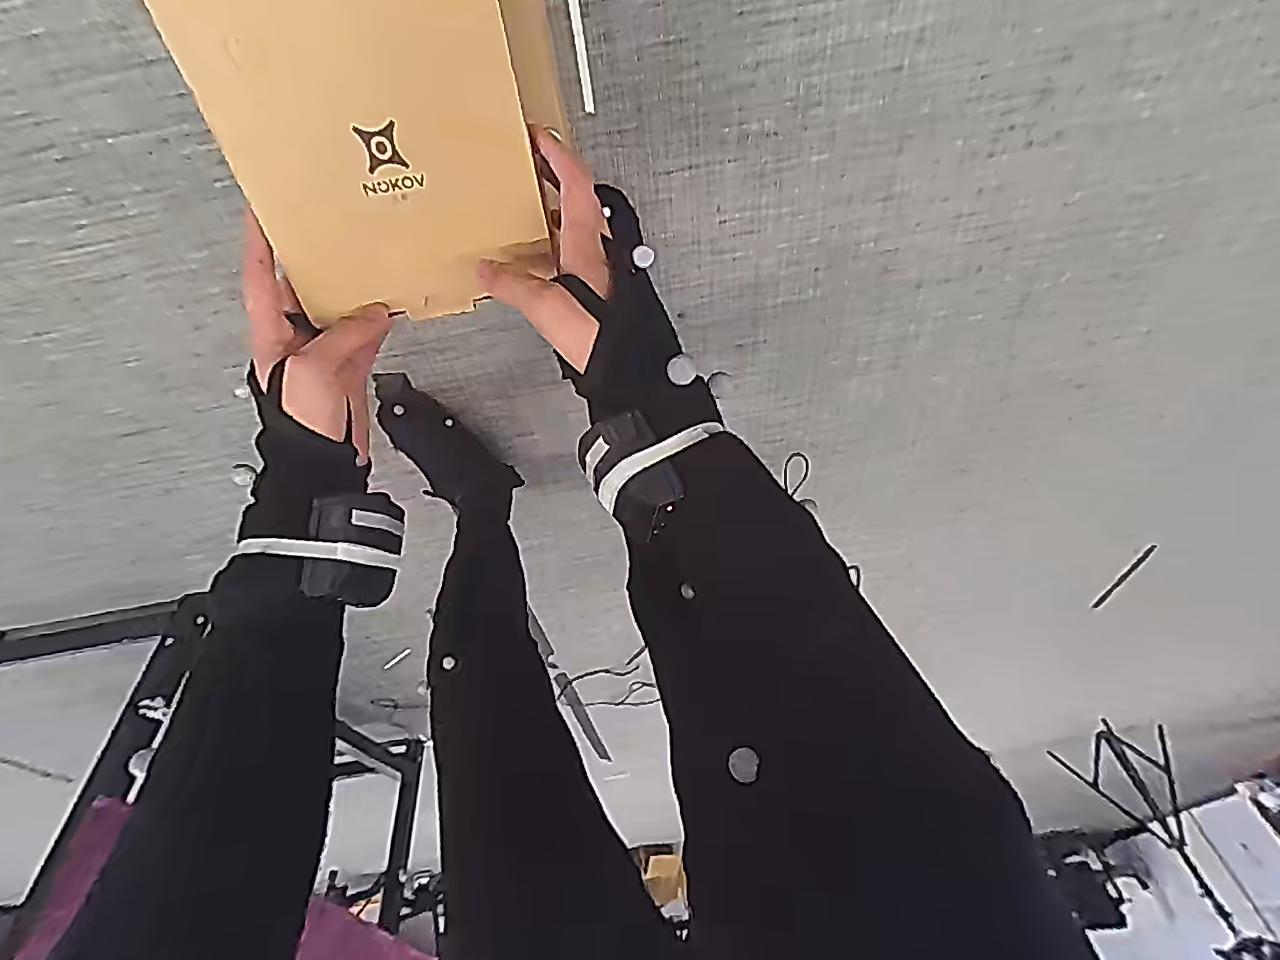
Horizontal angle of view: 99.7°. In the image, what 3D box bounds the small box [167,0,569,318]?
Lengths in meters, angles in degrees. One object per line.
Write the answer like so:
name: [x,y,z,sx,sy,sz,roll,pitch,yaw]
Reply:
small box: [-0.147,-0.234,0.366,0.168,0.176,0.179,-10,128,-1]
